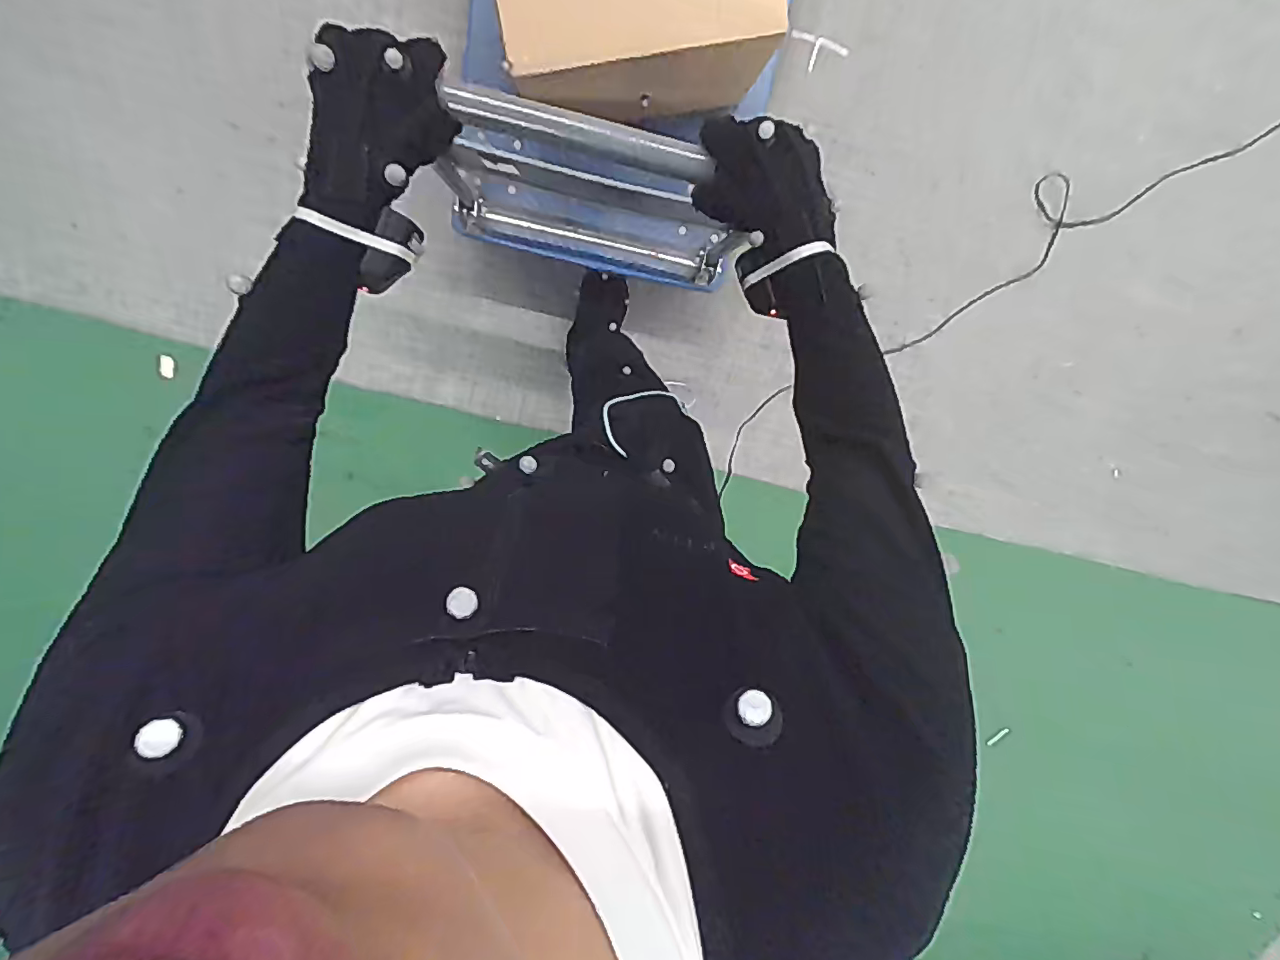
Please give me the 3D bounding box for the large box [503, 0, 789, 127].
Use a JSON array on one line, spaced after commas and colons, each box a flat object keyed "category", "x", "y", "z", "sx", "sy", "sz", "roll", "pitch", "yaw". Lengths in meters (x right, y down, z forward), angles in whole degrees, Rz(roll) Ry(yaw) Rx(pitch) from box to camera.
[{"category": "large box", "x": -0.010, "y": -0.811, "z": 0.866, "sx": 0.408, "sy": 0.320, "sz": 0.320, "roll": -9, "pitch": 109, "yaw": 1}]
